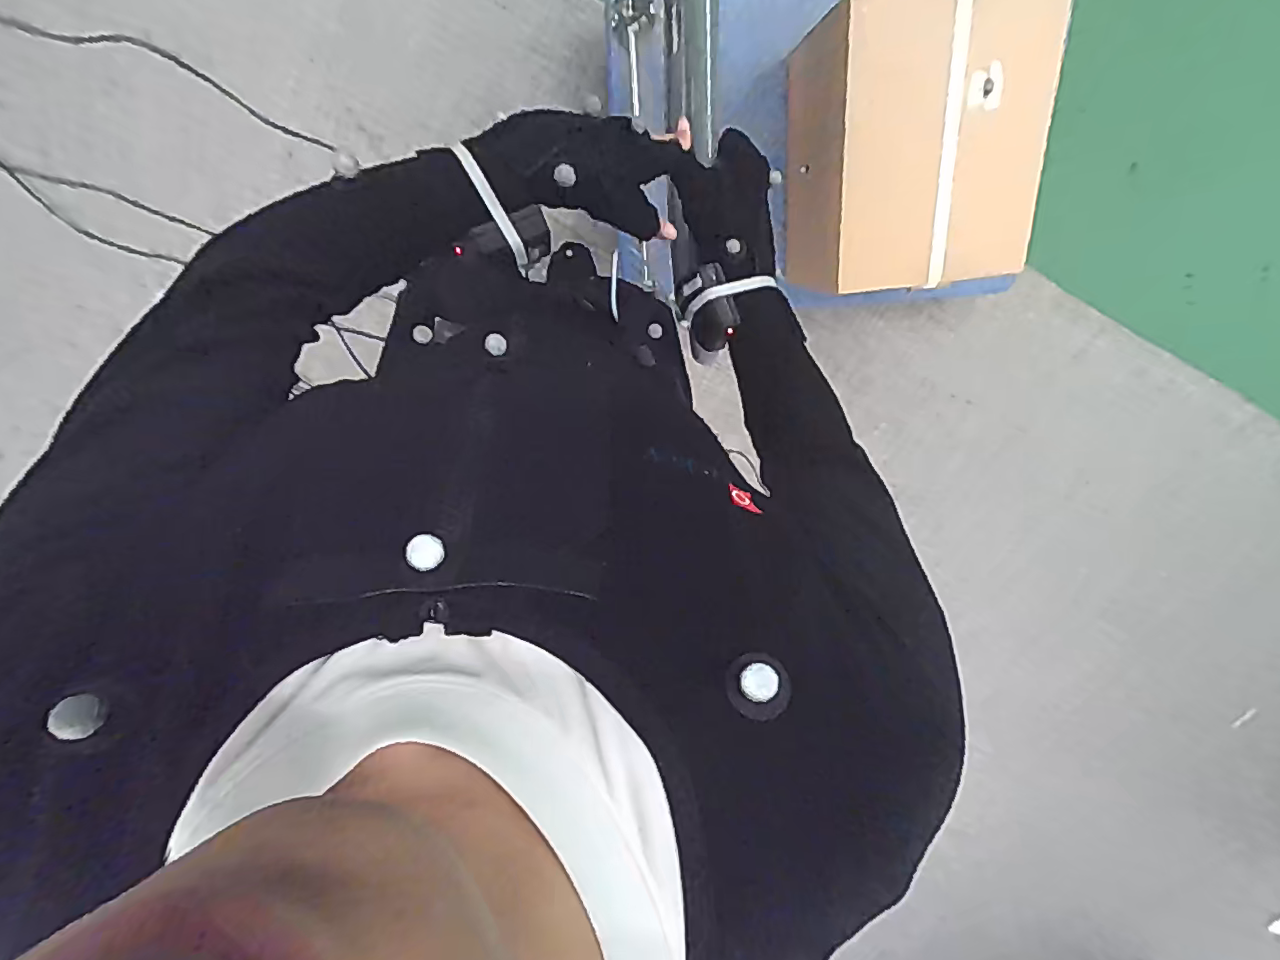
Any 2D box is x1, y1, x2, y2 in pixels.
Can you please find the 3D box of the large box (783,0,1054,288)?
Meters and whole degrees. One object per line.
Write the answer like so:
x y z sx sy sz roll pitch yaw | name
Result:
0.448 -0.579 0.964 0.320 0.320 0.408 -7 114 -1 | large box
